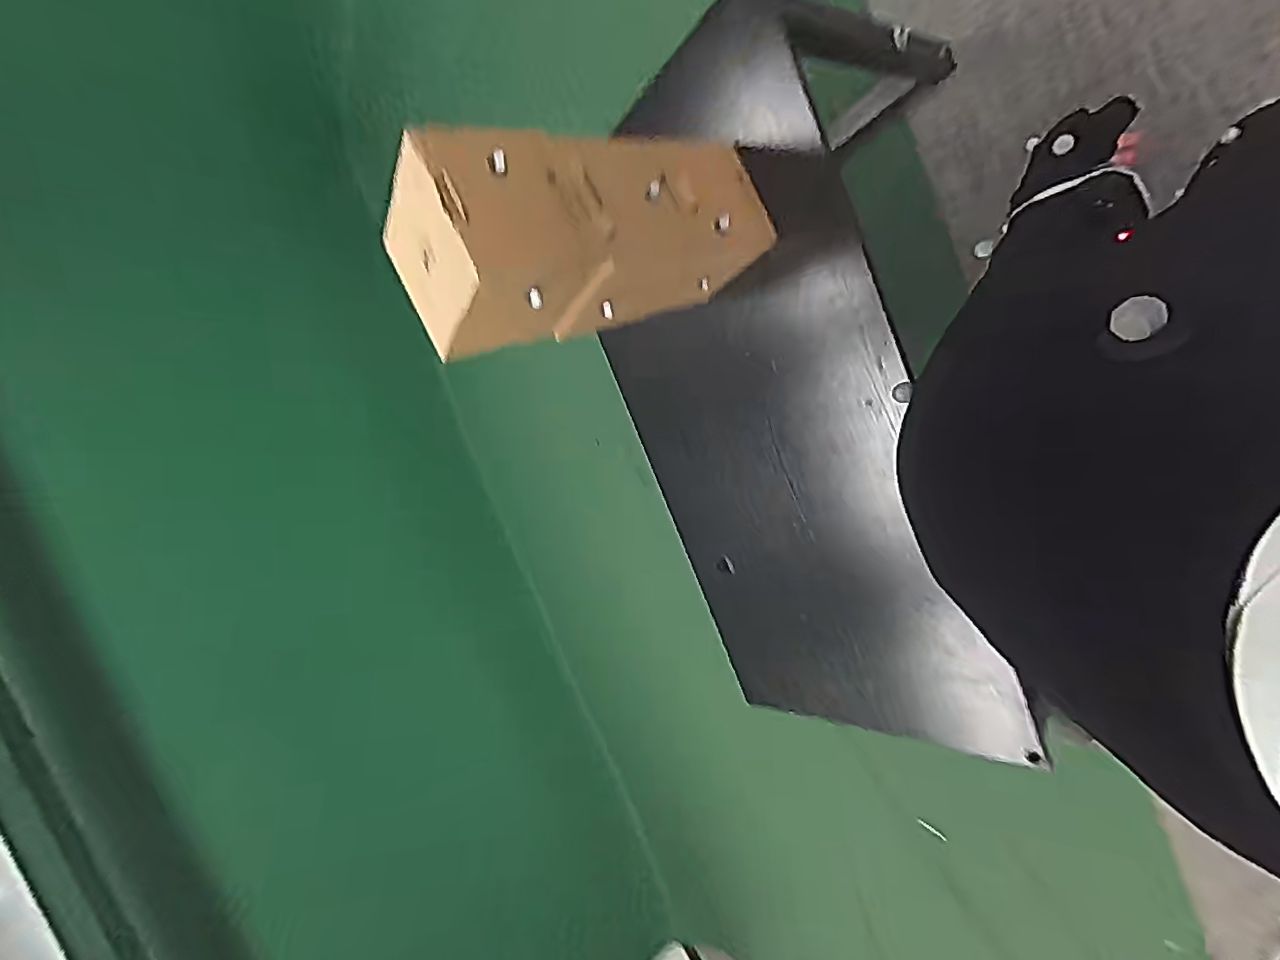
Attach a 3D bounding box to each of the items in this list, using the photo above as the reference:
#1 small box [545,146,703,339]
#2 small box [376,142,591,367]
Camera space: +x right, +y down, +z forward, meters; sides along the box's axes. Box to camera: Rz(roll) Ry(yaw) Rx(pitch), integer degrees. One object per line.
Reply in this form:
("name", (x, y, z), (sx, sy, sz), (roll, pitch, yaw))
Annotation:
("small box", (-0.047, -0.320, 0.740), (0.179, 0.176, 0.168), (-30, 88, 54))
("small box", (-0.180, -0.261, 0.633), (0.179, 0.176, 0.168), (-30, 87, 54))
